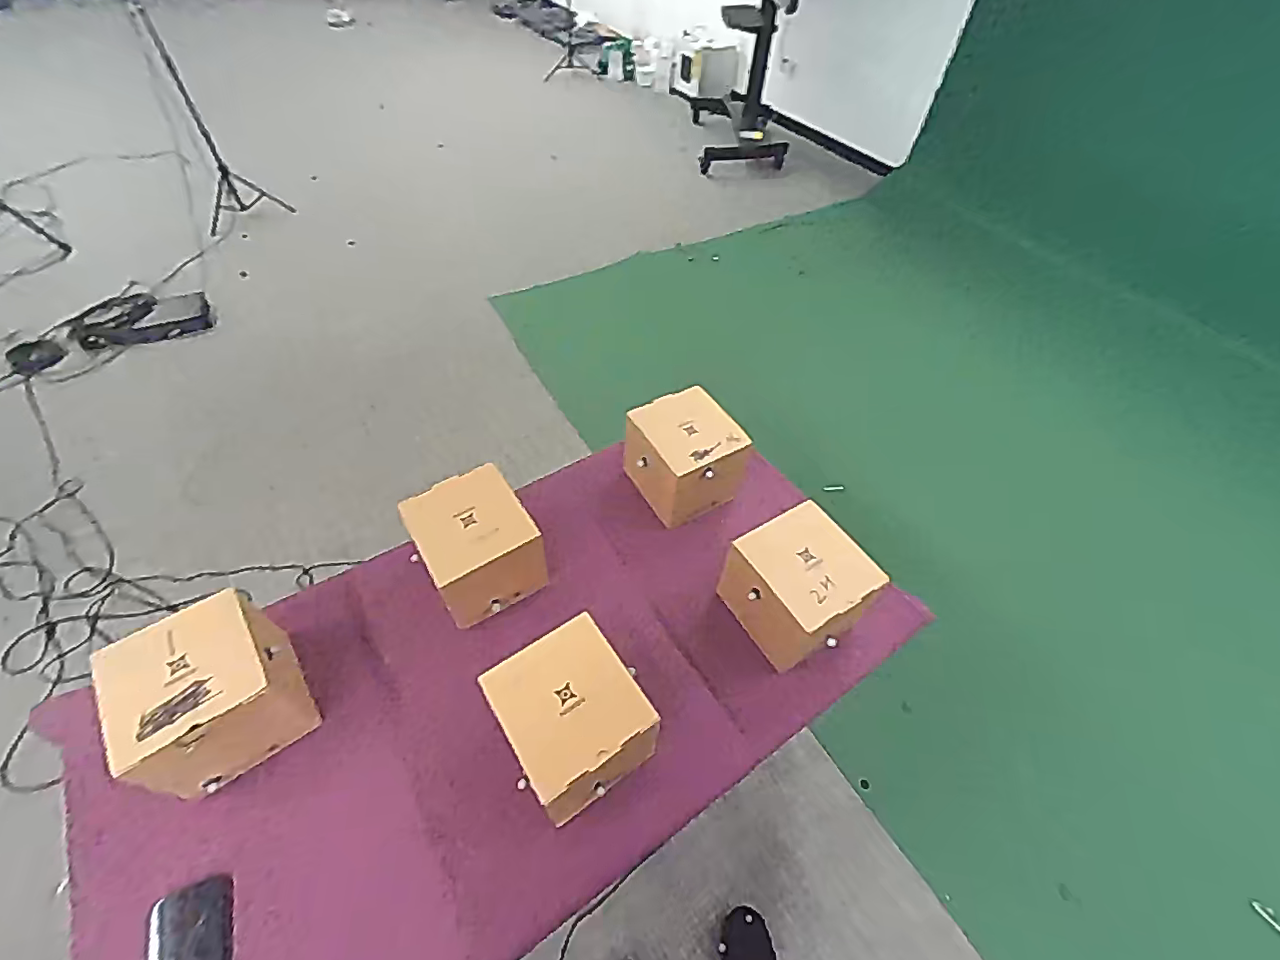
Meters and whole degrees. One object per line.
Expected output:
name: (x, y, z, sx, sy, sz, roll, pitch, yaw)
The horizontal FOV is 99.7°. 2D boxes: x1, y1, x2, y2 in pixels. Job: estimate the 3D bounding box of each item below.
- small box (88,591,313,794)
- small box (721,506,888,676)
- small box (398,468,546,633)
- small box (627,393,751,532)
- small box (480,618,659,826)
small box: (-0.576, 0.291, 0.728, 0.168, 0.176, 0.179, -29, 58, -25)
small box: (0.249, 0.180, 0.872, 0.168, 0.176, 0.179, -24, 56, -20)
small box: (-0.270, 0.118, 0.894, 0.168, 0.176, 0.179, -27, 58, -22)
small box: (0.083, -0.032, 1.040, 0.168, 0.176, 0.179, -24, 56, -21)
small box: (-0.096, 0.328, 0.732, 0.168, 0.176, 0.179, -27, 57, -24)
